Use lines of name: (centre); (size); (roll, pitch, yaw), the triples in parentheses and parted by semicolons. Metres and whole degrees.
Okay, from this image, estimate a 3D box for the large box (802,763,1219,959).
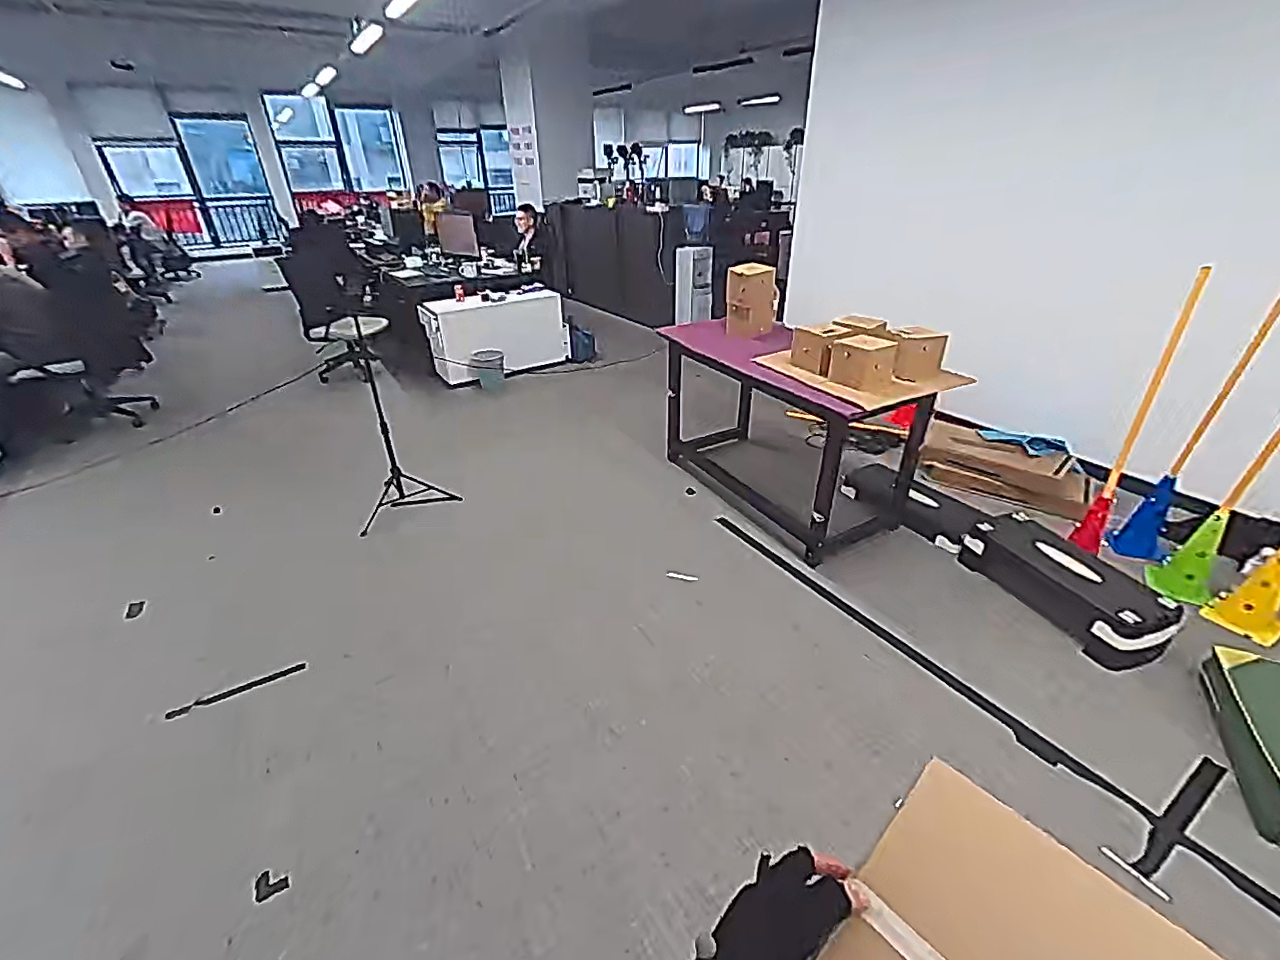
large box: (0.326, 0.545, 0.438); (0.320, 0.320, 0.408); (-33, 46, -30)
